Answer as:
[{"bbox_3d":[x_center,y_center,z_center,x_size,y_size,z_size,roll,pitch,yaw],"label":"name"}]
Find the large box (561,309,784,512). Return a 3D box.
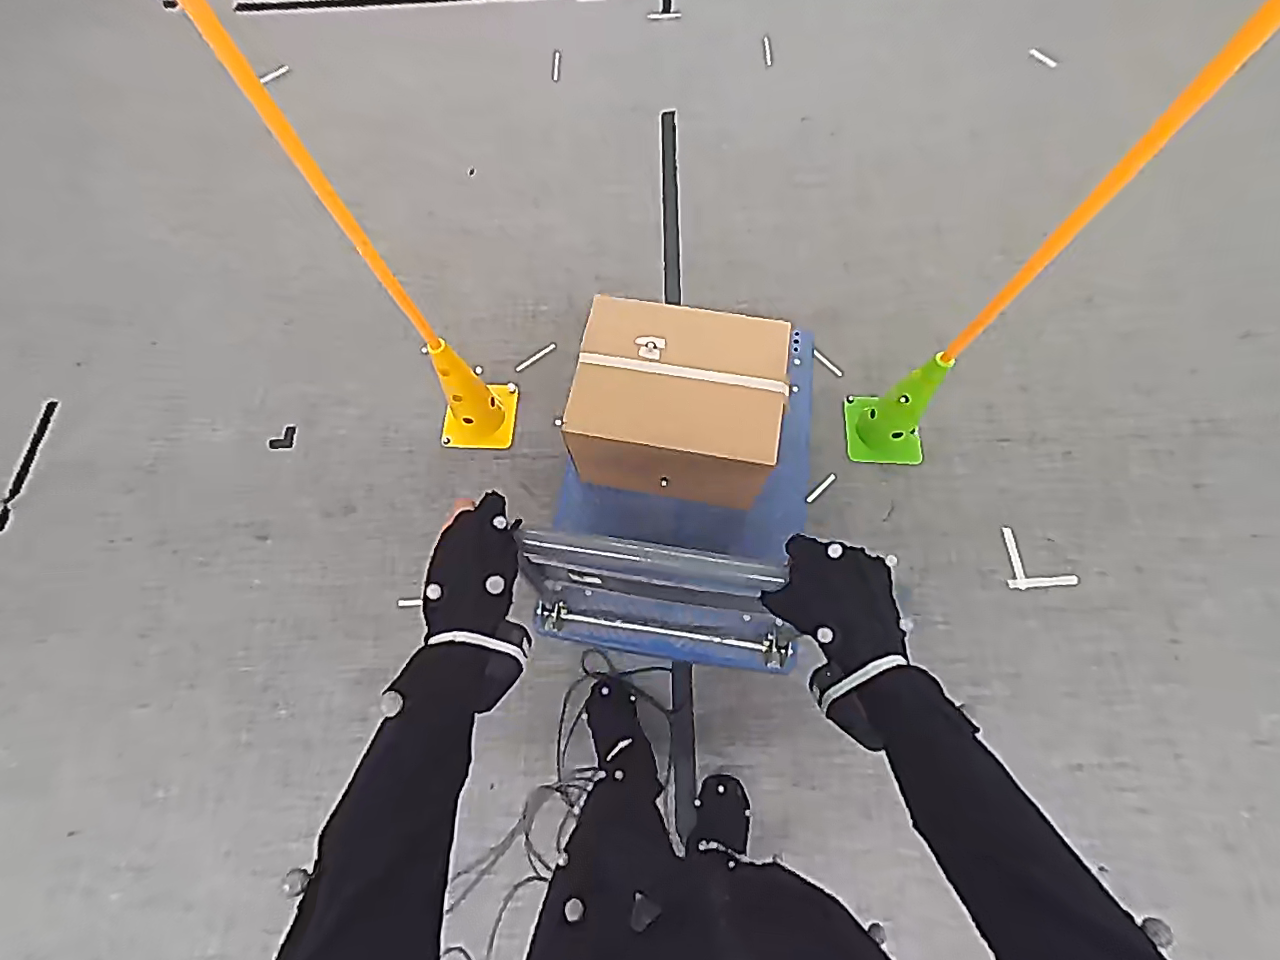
[{"bbox_3d":[0.078,-0.138,1.198,0.408,0.320,0.320,9,71,6],"label":"large box"}]

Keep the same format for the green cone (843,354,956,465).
[{"bbox_3d":[0.672,-0.196,1.353,0.202,0.368,0.200,3,70,1],"label":"green cone"}]
